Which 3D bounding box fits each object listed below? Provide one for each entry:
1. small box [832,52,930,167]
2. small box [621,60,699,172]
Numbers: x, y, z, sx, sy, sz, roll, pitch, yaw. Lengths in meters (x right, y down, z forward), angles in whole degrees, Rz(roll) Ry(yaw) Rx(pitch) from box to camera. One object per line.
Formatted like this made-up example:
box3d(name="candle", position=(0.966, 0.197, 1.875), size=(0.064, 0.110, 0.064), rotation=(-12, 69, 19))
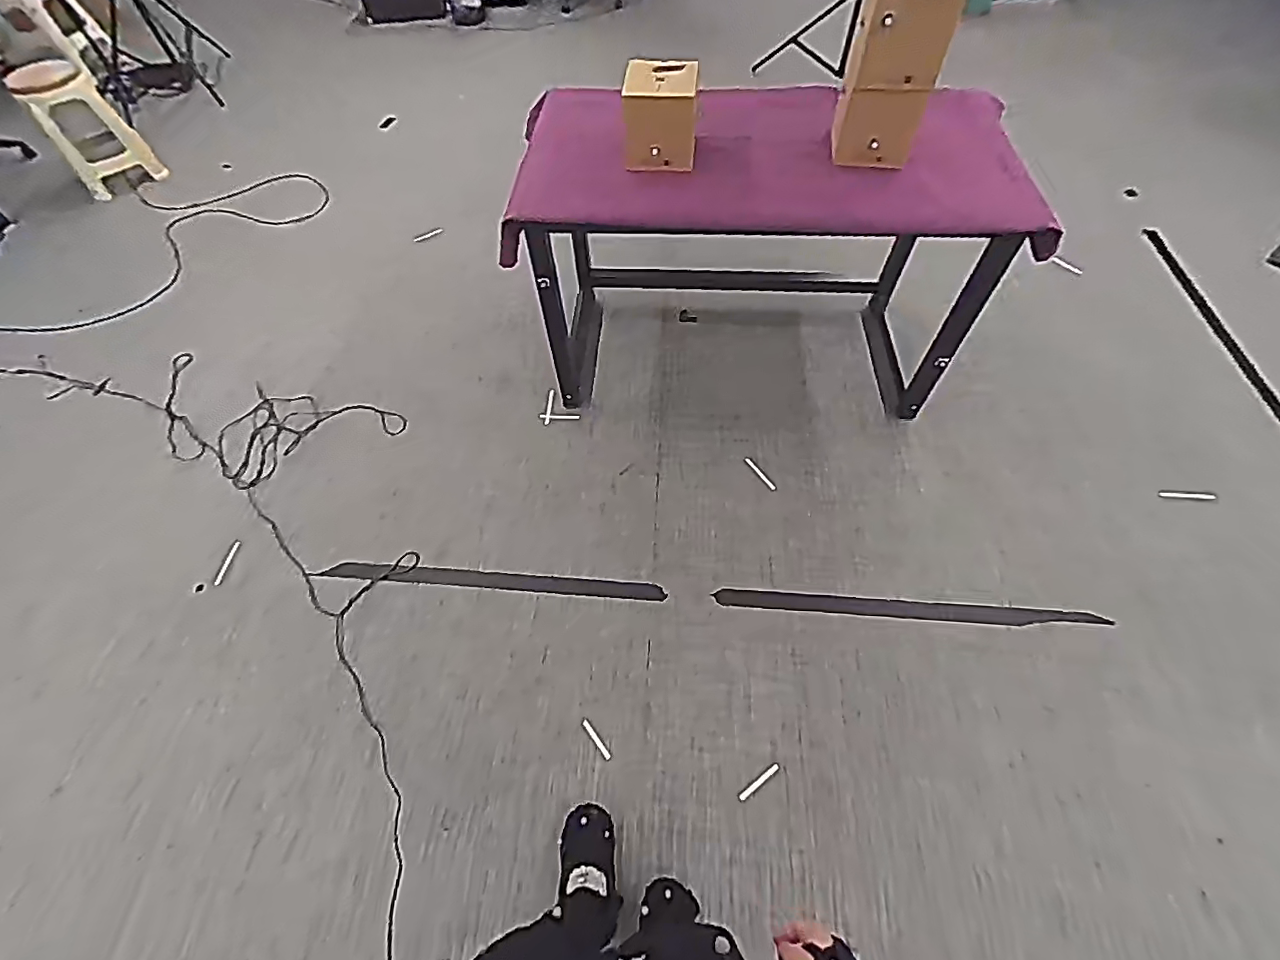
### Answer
box3d(name="small box", position=(0.556, -0.871, 1.274), size=(0.168, 0.176, 0.179), rotation=(7, 59, 7))
box3d(name="small box", position=(0.049, -0.870, 1.295), size=(0.168, 0.176, 0.179), rotation=(4, 59, 5))
